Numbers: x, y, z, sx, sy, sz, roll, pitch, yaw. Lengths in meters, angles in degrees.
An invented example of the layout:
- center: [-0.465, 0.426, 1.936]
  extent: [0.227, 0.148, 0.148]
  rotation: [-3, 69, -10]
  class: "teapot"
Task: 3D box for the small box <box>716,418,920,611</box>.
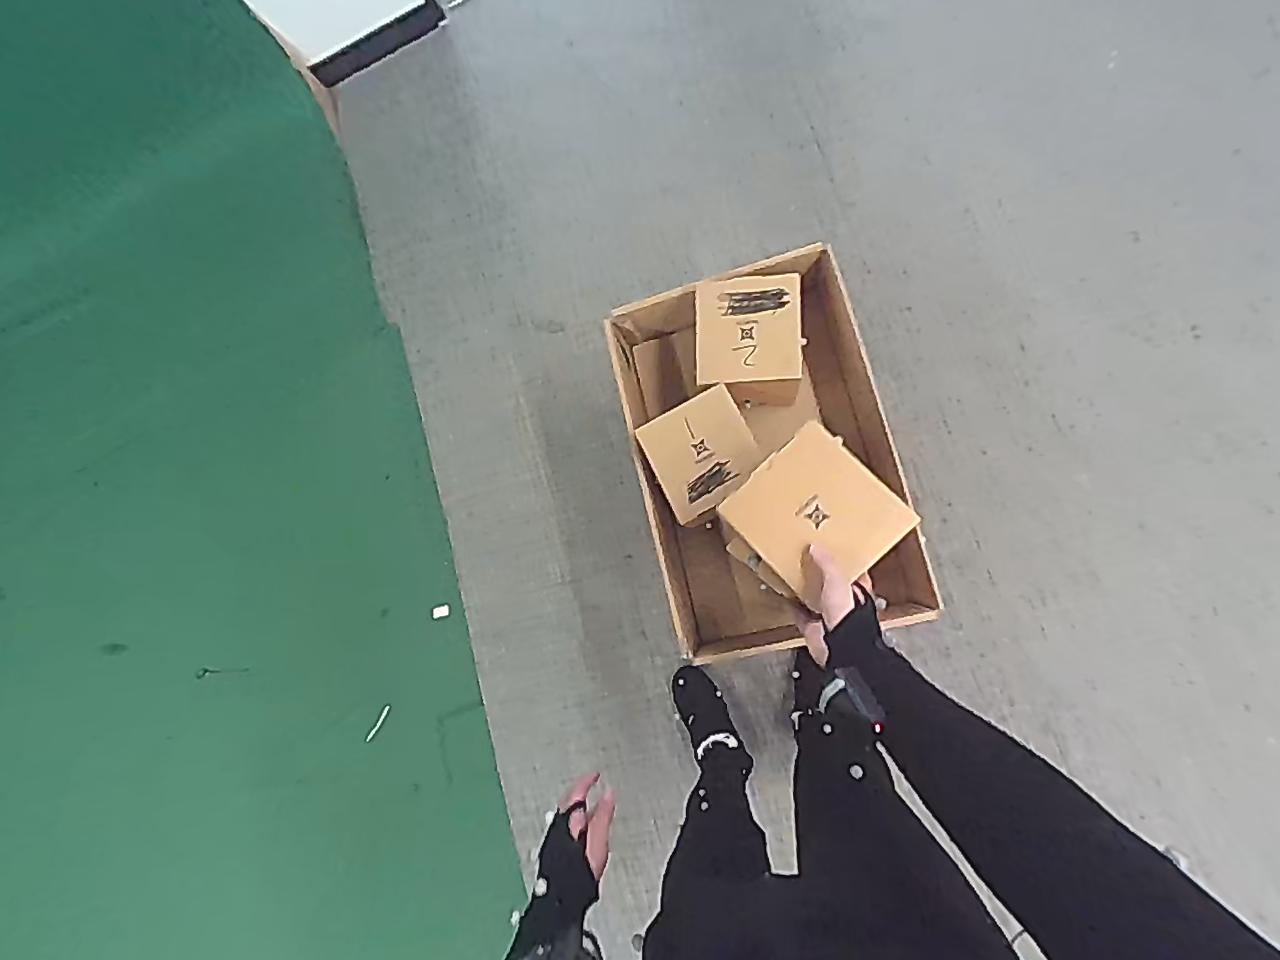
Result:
- center: [0.226, 0.050, 0.719]
  extent: [0.168, 0.176, 0.179]
  rotation: [-42, 73, 3]
  class: "small box"
